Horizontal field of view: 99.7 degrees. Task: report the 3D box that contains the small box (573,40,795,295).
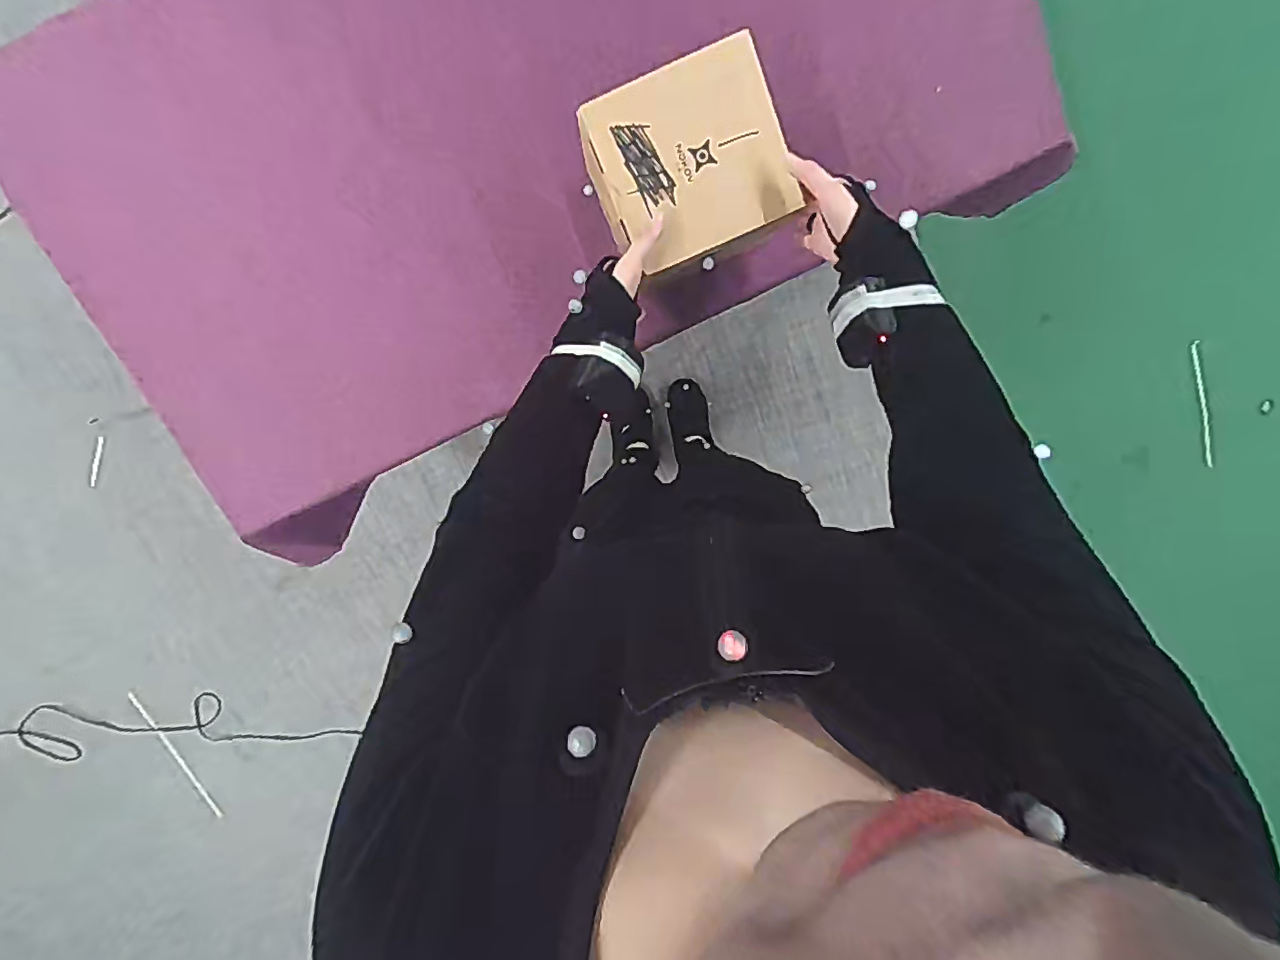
[{"bbox_3d":[0.042,-0.322,0.601,0.179,0.176,0.168,-23,102,2],"label":"small box"}]
